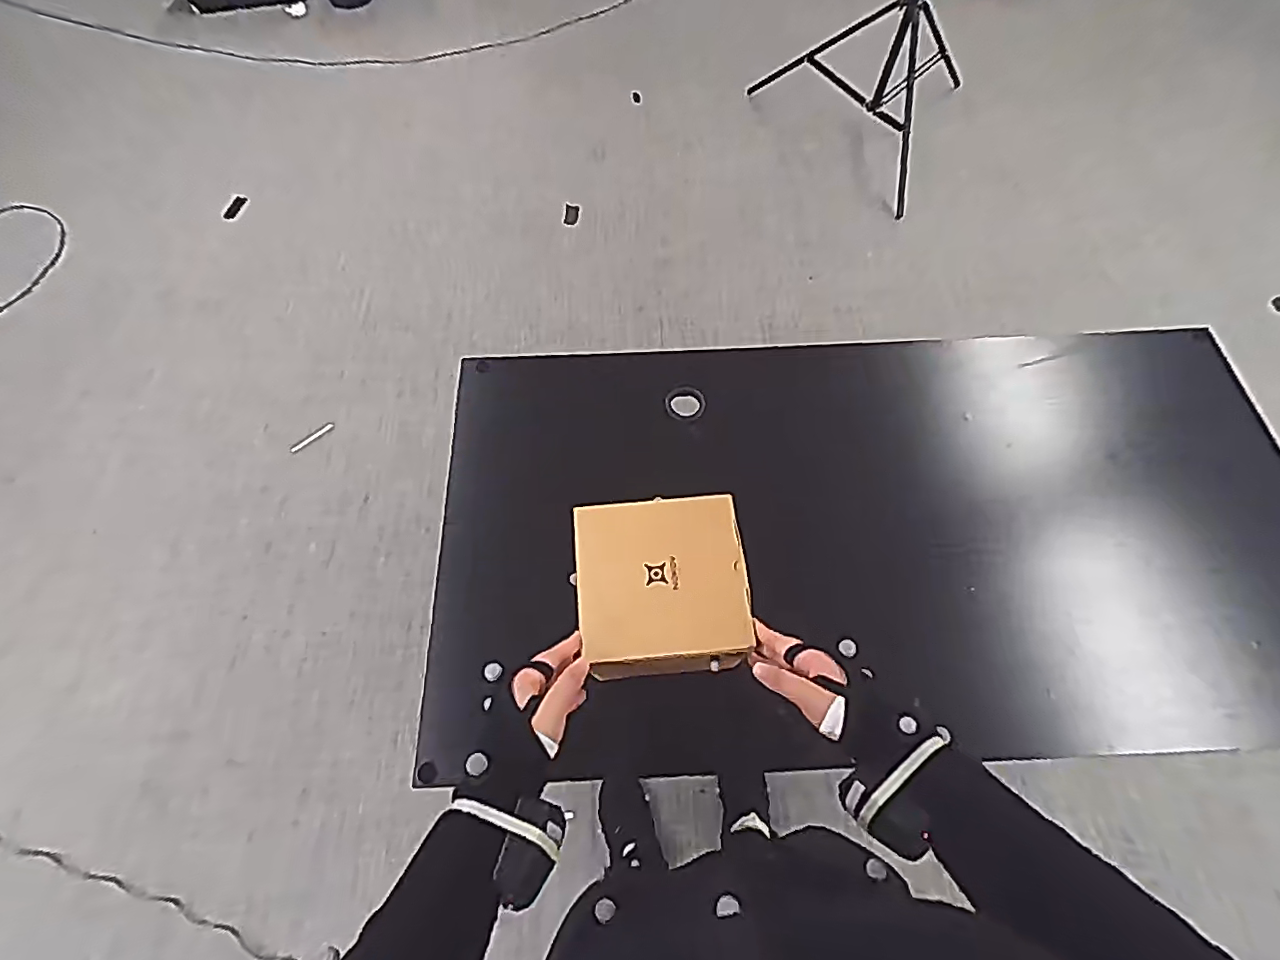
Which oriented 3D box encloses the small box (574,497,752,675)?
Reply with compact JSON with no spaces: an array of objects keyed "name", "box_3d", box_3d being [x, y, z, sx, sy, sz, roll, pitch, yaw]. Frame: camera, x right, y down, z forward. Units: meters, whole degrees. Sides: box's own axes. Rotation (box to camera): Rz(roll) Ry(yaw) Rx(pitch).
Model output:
[{"name":"small box","box_3d":[0.021,0.132,0.639,0.179,0.176,0.168,-5,66,-2]}]
